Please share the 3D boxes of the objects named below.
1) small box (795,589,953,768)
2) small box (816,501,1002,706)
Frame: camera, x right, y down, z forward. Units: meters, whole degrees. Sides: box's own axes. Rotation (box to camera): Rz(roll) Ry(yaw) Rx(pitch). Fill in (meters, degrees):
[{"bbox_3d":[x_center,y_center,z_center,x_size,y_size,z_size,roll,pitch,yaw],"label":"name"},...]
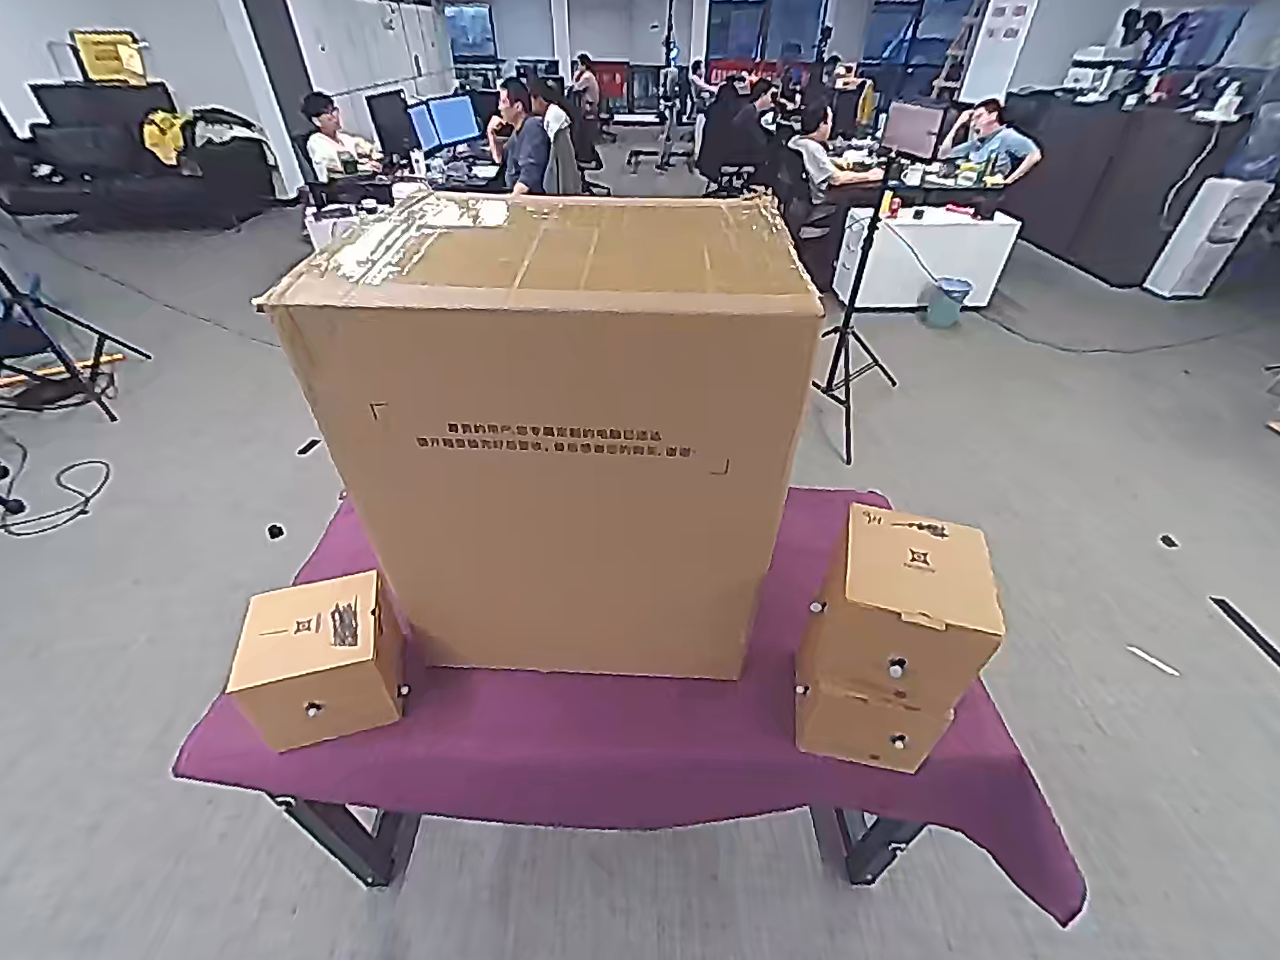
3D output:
[{"bbox_3d":[0.329,0.292,0.798,0.168,0.176,0.179,8,38,8],"label":"small box"},{"bbox_3d":[0.333,0.159,0.700,0.168,0.176,0.179,13,42,13],"label":"small box"}]
